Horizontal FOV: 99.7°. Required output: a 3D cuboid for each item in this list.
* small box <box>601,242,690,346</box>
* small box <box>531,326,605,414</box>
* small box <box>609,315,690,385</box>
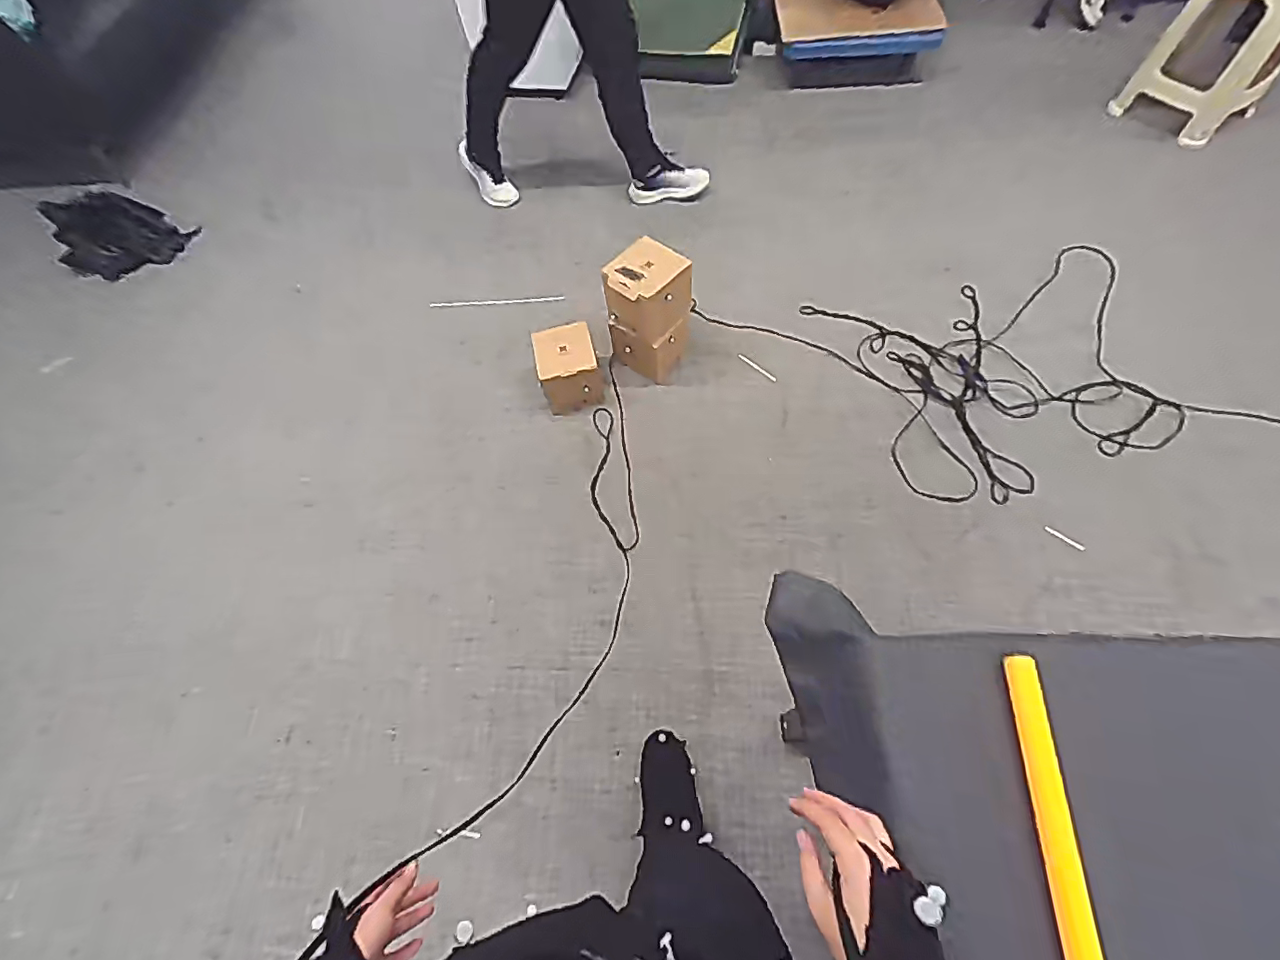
[{"bbox_3d":[0.022,-0.499,1.465,0.168,0.176,0.179,38,71,21],"label":"small box"},{"bbox_3d":[-0.207,-0.312,1.580,0.168,0.176,0.179,-15,61,-3],"label":"small box"},{"bbox_3d":[0.031,-0.412,1.606,0.179,0.176,0.168,33,69,20],"label":"small box"}]
